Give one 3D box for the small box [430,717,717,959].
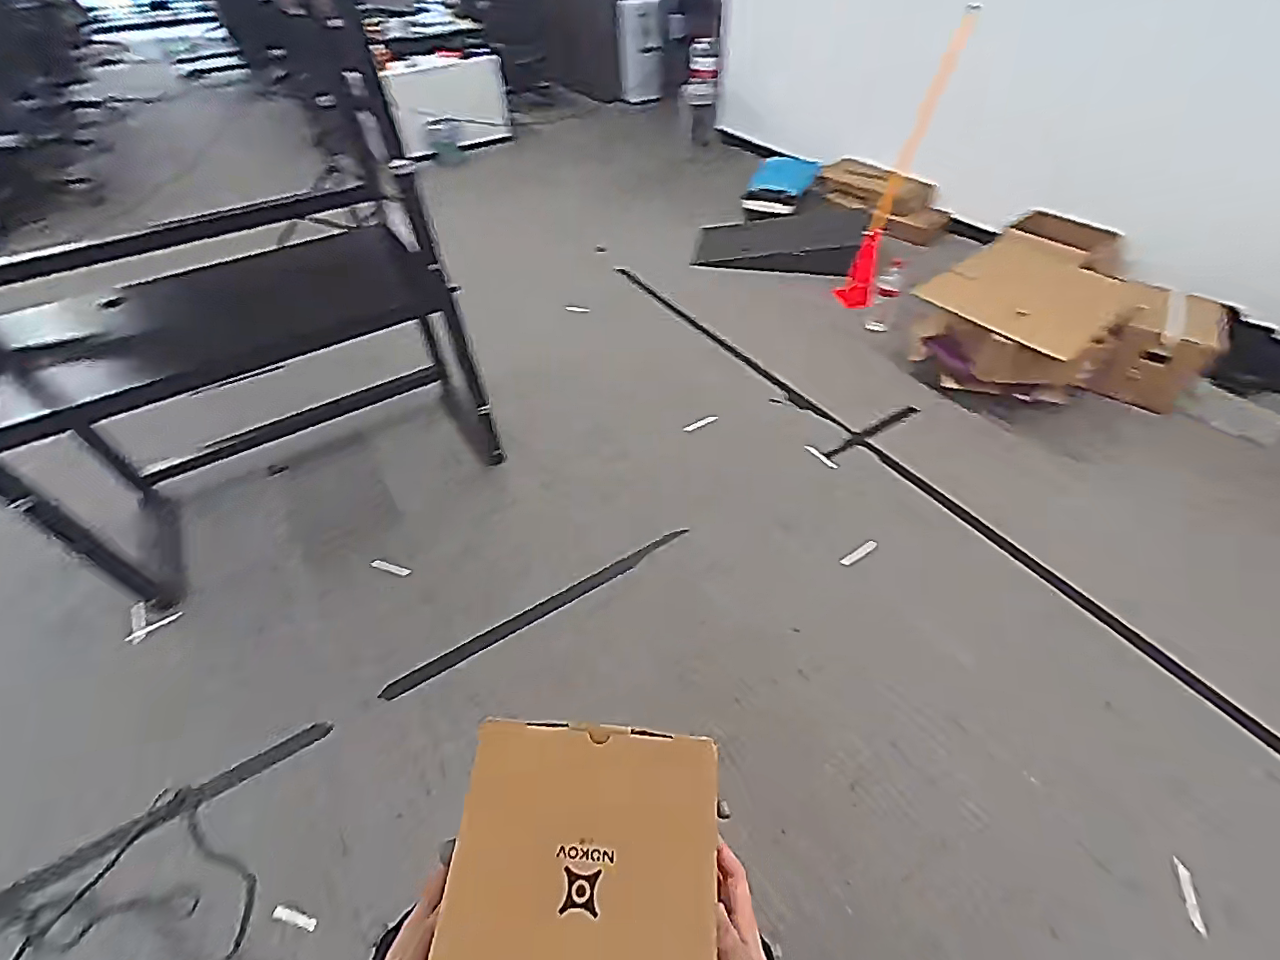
[{"bbox_3d":[-0.036,0.288,0.392,0.168,0.176,0.179,4,53,0],"label":"small box"}]
